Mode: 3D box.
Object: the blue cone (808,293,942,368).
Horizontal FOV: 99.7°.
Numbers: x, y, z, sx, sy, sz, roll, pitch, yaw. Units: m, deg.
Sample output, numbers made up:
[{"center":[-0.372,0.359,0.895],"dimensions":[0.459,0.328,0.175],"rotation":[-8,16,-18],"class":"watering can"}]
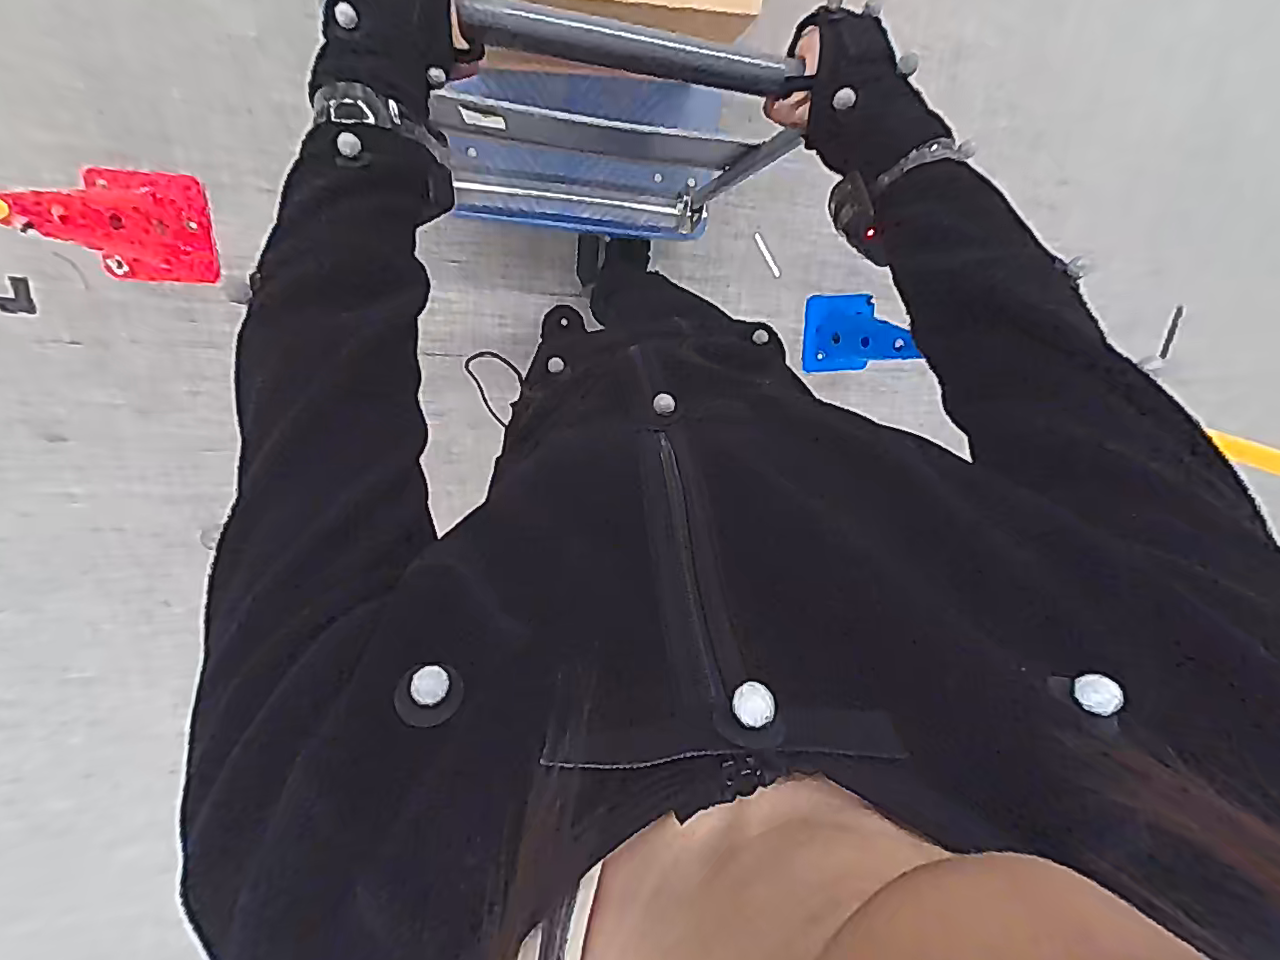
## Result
[{"center":[0.574,-0.346,1.298],"dimensions":[0.193,0.380,0.192],"rotation":[-4,110,-12],"class":"blue cone"}]
